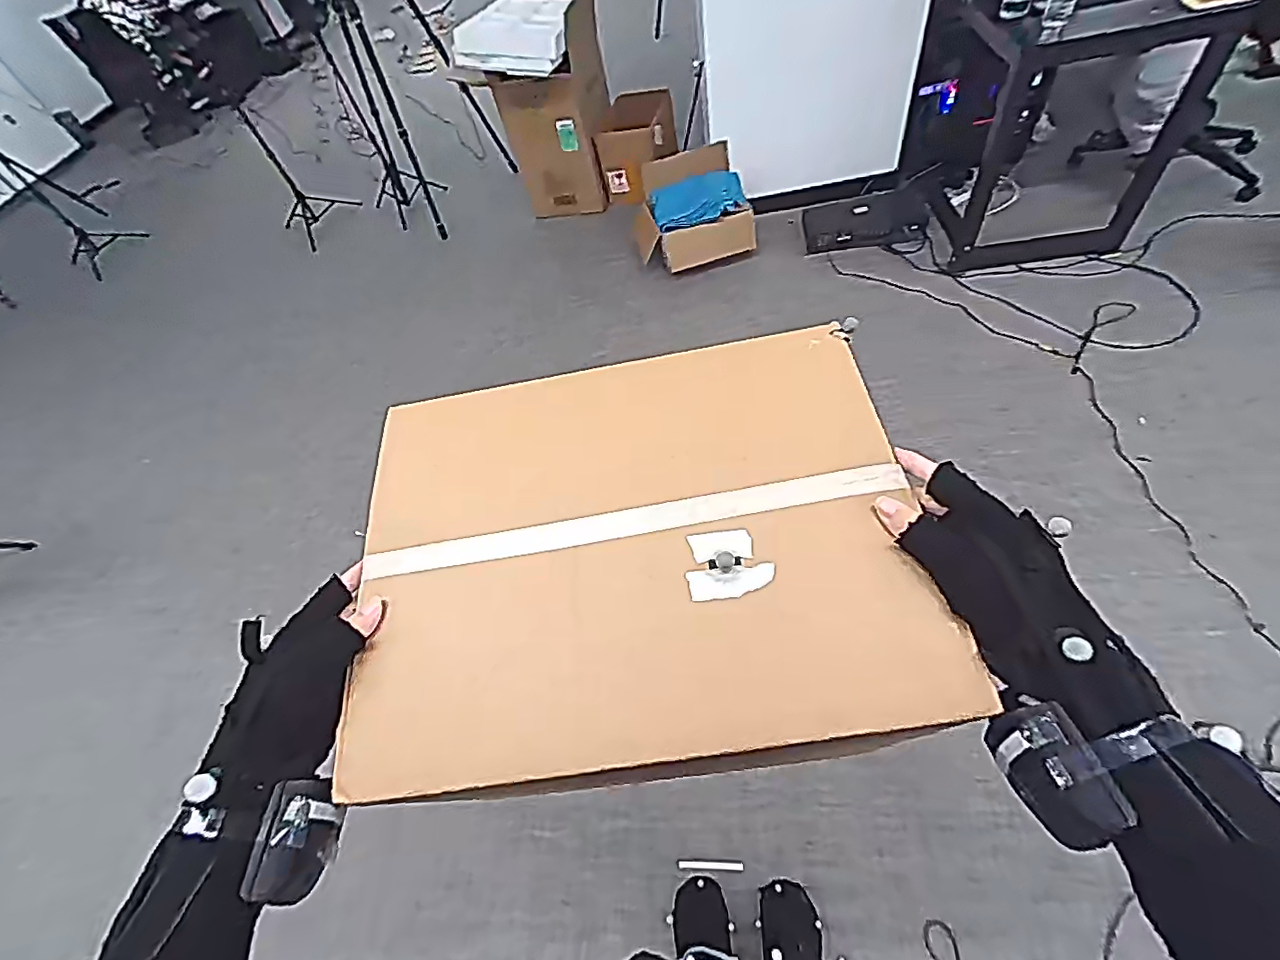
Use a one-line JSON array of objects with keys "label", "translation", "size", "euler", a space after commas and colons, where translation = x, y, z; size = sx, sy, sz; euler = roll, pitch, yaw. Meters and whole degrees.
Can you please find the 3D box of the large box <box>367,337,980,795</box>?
[{"label": "large box", "translation": [0.016, 0.111, 0.542], "size": [0.408, 0.320, 0.320], "euler": [-10, 60, 3]}]
